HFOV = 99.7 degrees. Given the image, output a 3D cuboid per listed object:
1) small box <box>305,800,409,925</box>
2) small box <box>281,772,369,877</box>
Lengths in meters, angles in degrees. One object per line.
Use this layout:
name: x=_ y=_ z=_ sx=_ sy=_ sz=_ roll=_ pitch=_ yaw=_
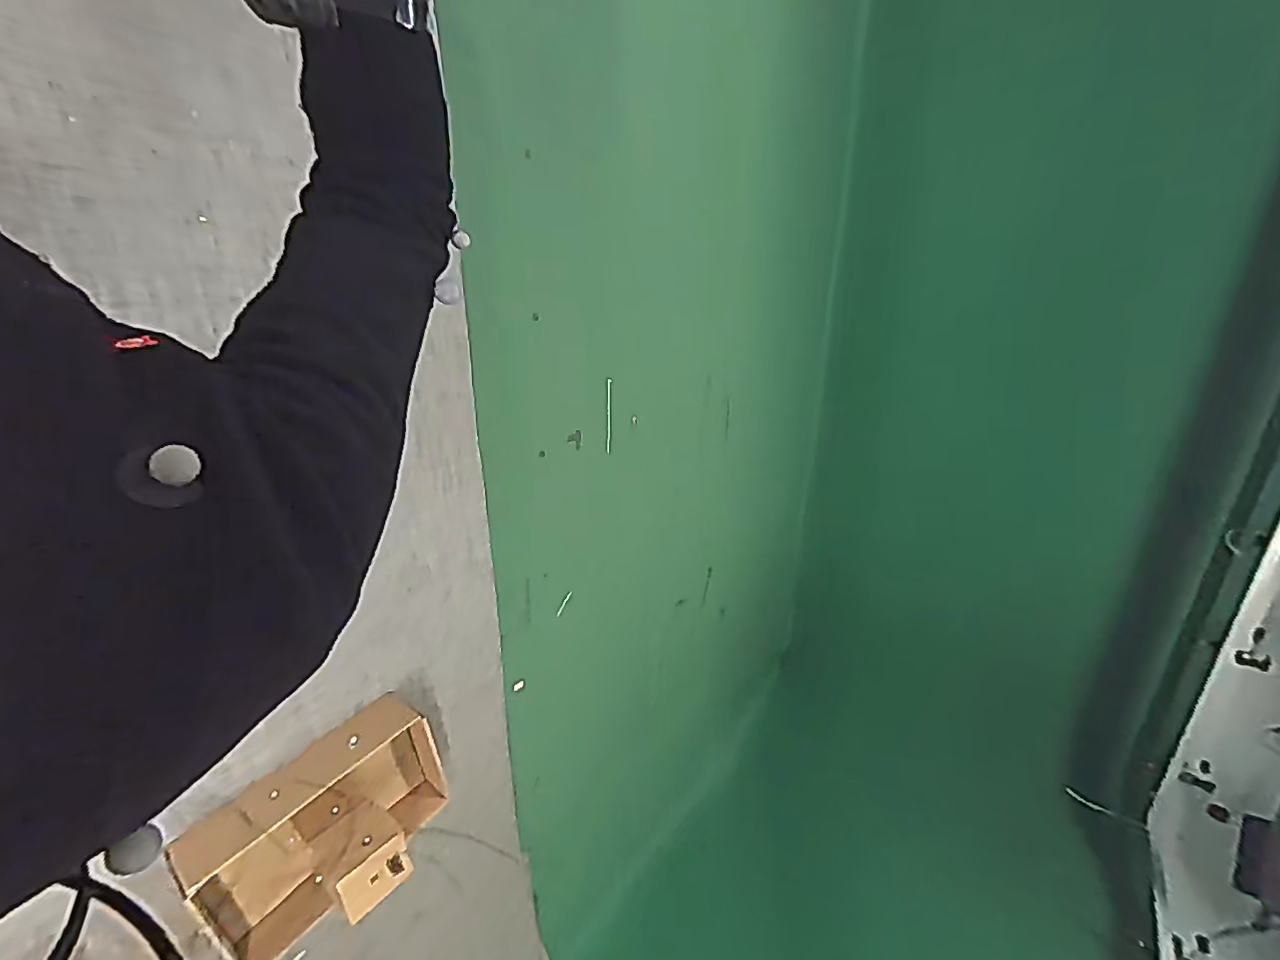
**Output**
small box: x=-0.751 y=1.005 z=1.441 sx=0.179 sy=0.176 sz=0.168 roll=-26 pitch=122 yaw=-46
small box: x=-0.880 y=0.982 z=1.541 sx=0.179 sy=0.176 sz=0.168 roll=-29 pitch=124 yaw=-44
